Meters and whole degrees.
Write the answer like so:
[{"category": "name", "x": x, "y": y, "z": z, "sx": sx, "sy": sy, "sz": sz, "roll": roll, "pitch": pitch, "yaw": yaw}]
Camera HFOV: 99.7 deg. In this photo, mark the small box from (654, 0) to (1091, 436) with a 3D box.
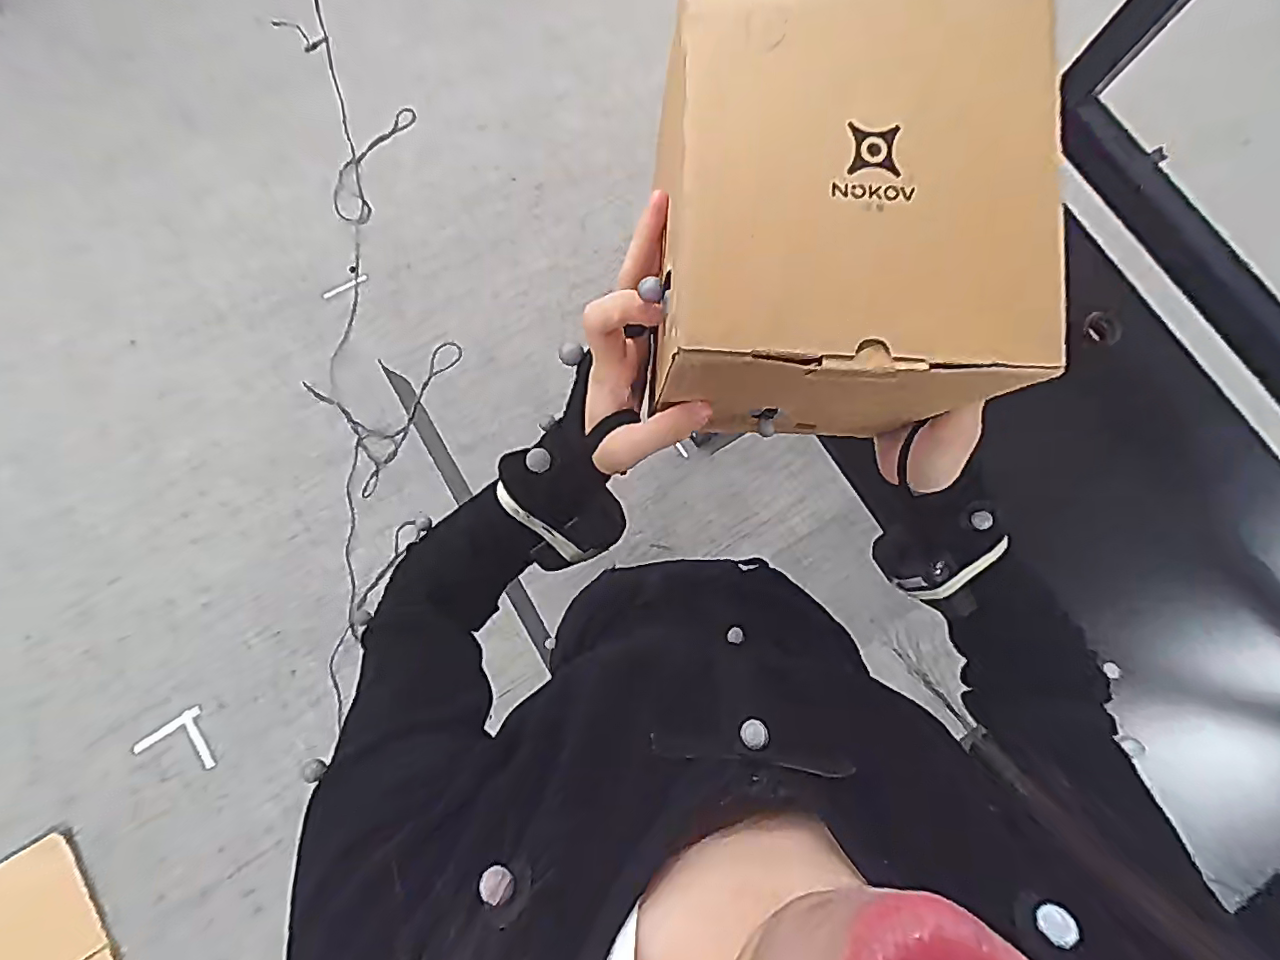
[{"category": "small box", "x": 0.095, "y": -0.127, "z": 0.299, "sx": 0.168, "sy": 0.176, "sz": 0.179, "roll": 1, "pitch": 85, "yaw": -2}]
